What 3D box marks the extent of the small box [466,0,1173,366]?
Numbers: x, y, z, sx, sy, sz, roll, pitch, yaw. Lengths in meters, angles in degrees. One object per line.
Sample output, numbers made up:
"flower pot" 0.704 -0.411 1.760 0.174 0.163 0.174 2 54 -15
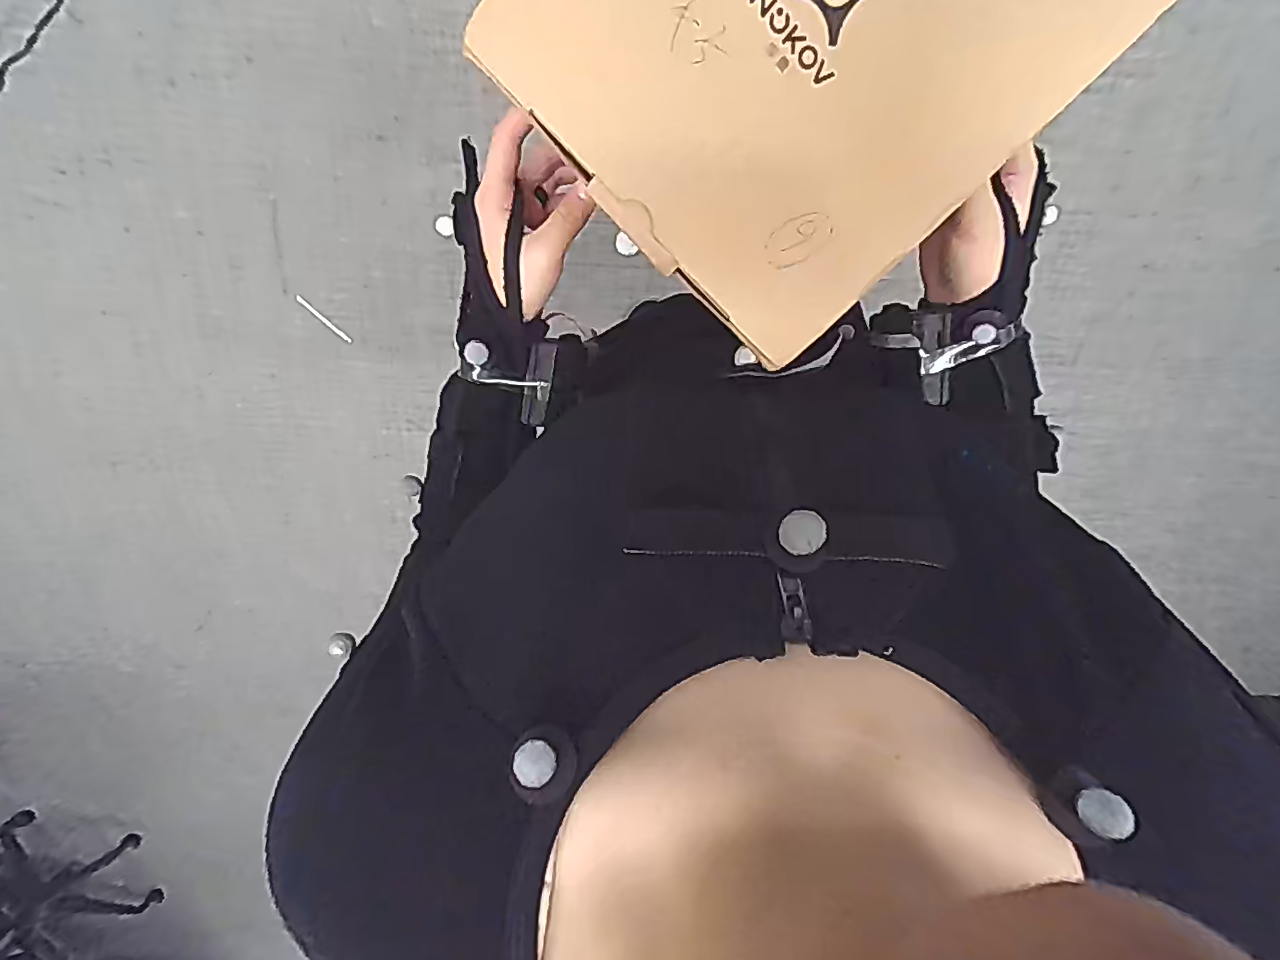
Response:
"small box" 0.060 -0.185 0.251 0.168 0.176 0.179 42 111 -14
